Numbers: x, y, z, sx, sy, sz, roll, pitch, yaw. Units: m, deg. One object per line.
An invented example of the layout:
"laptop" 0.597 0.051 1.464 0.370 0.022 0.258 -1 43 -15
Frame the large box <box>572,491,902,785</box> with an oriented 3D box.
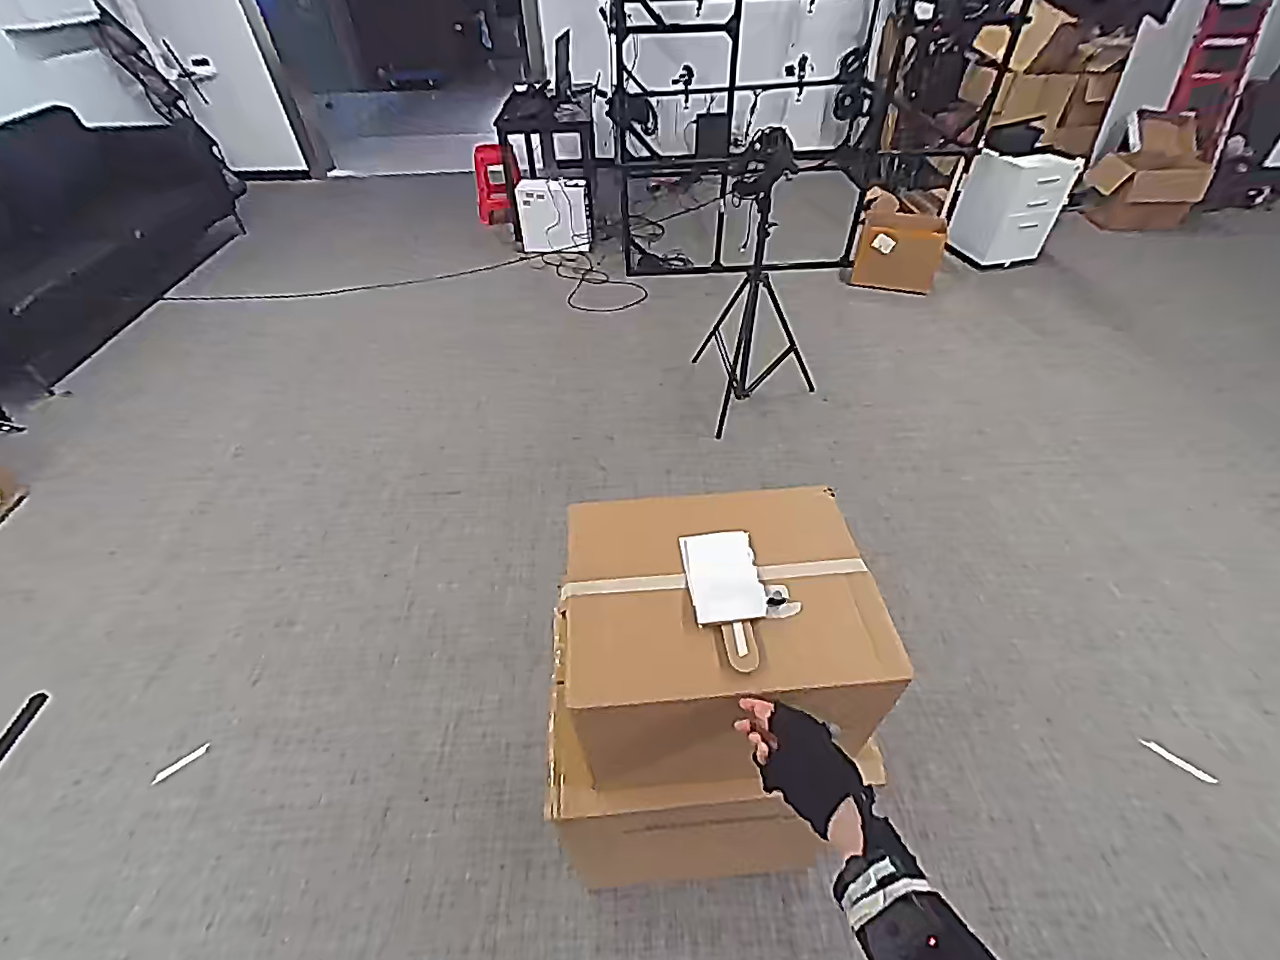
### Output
"large box" 0.108 0.245 0.847 0.408 0.320 0.320 -4 45 -3
